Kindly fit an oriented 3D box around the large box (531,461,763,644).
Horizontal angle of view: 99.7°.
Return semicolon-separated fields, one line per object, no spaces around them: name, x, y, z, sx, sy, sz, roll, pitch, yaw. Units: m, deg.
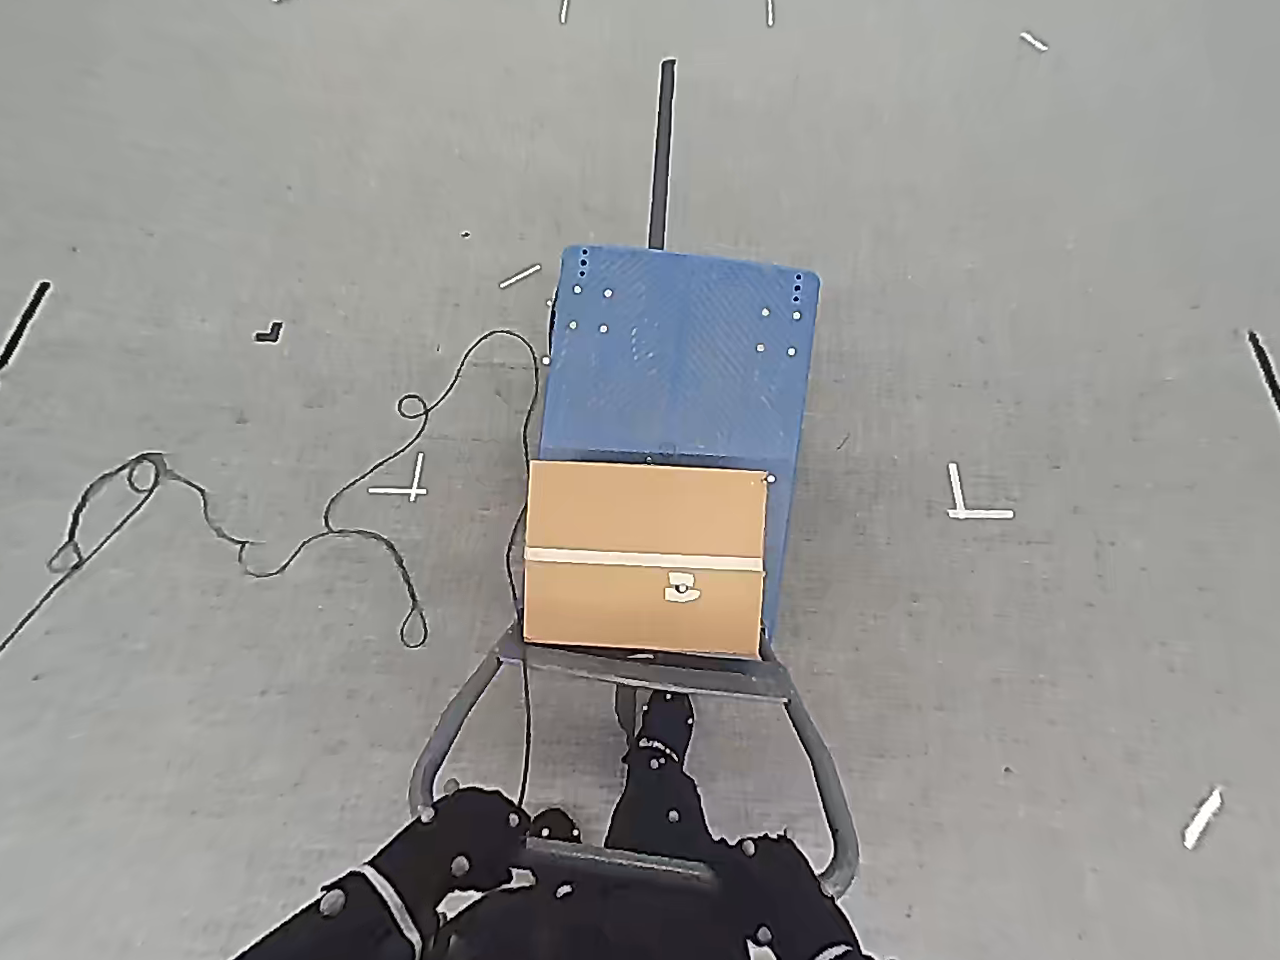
large box;0.010;0.126;1.091;0.408;0.320;0.320;3;92;1
